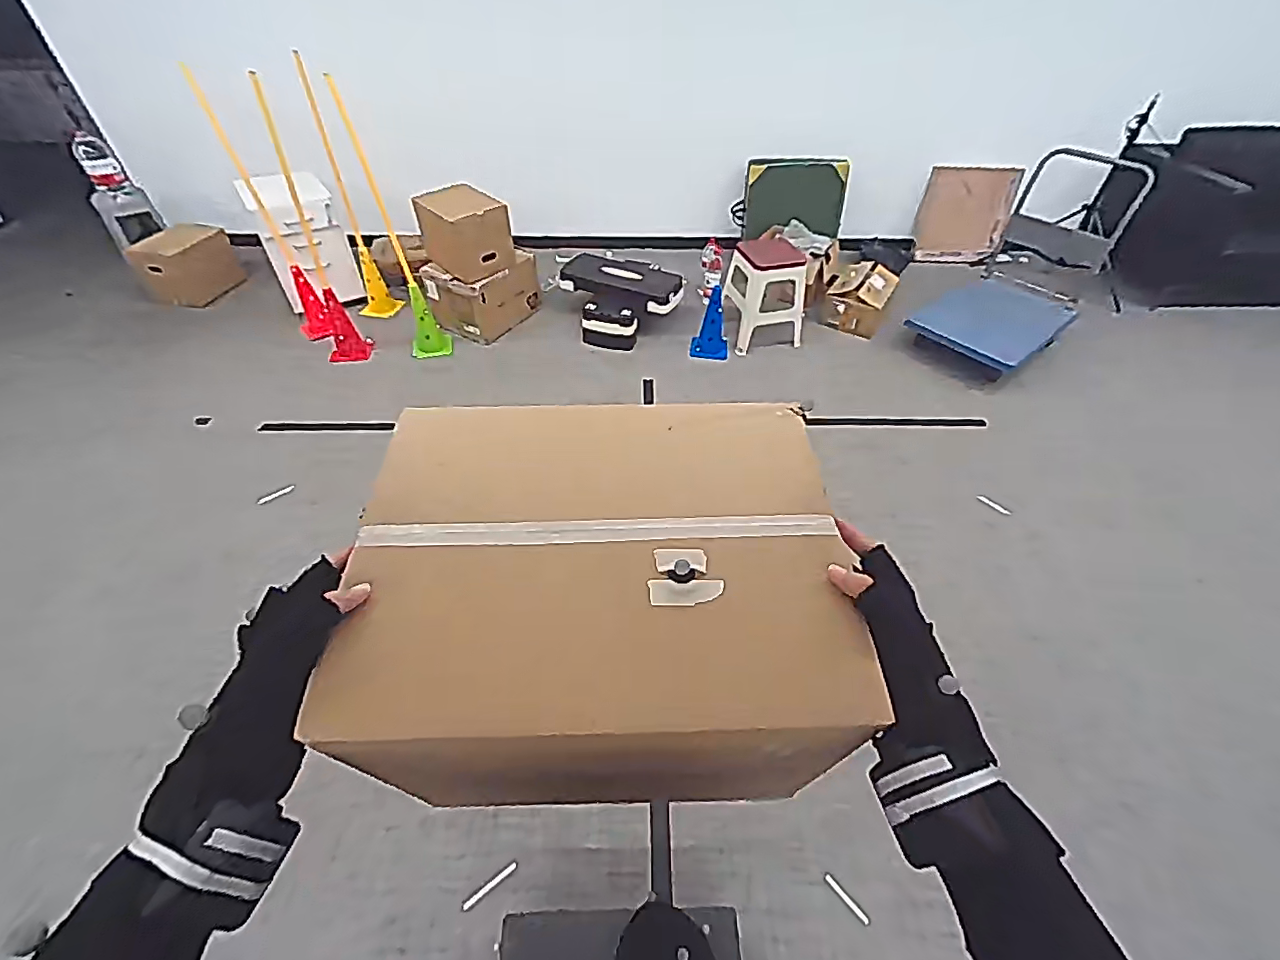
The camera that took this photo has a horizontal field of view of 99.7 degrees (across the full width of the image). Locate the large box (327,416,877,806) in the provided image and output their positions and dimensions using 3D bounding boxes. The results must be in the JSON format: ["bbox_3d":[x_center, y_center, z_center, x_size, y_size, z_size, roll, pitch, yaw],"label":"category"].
[{"bbox_3d":[-0.032,0.148,0.593,0.408,0.320,0.320,-1,51,-1],"label":"large box"}]
